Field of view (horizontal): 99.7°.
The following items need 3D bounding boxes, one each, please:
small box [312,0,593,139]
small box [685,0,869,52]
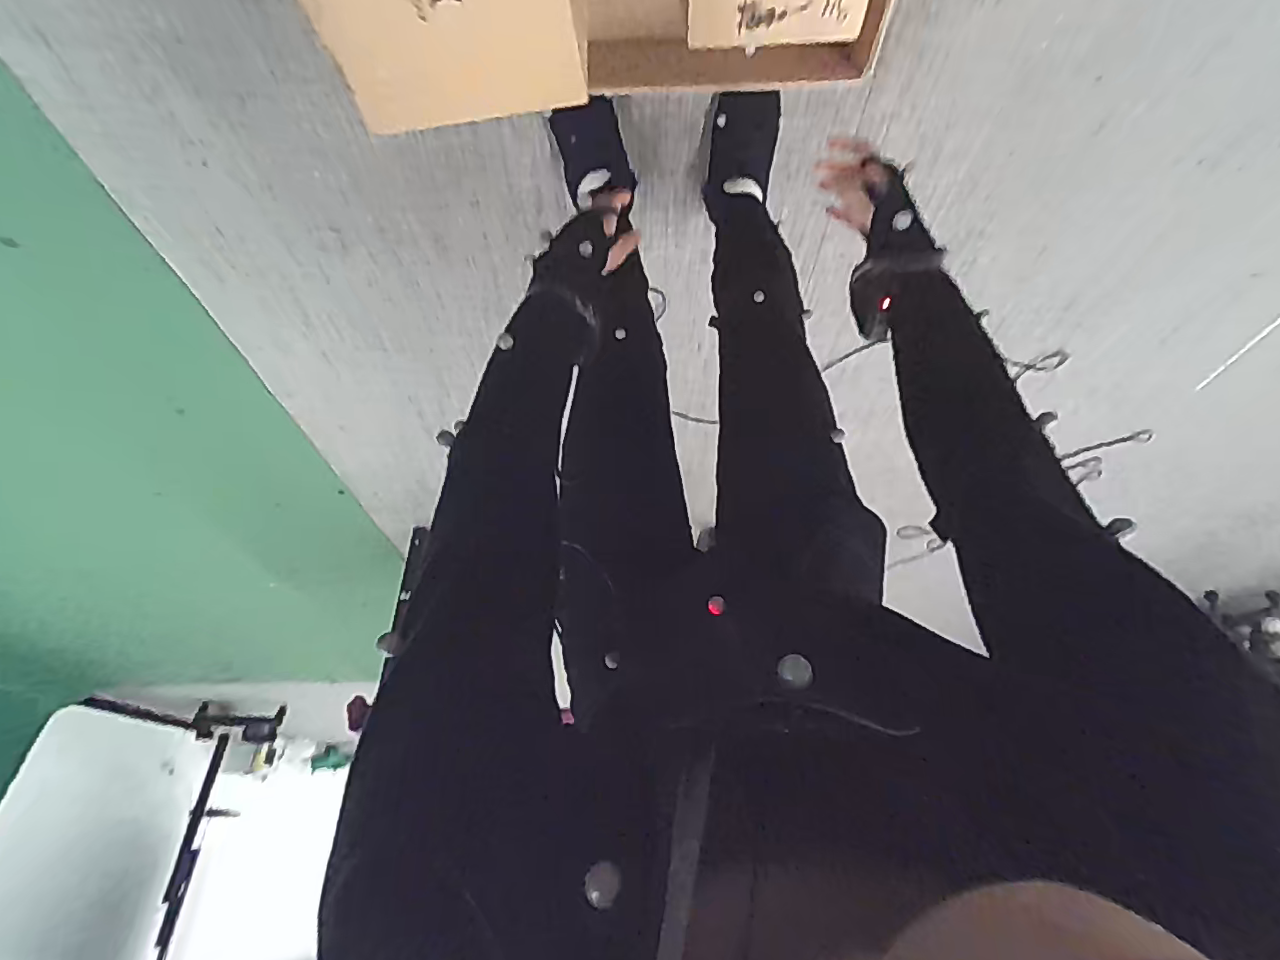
[{"bbox_3d":[-0.136,-0.393,0.402,0.179,0.176,0.168,-6,148,5],"label":"small box"},{"bbox_3d":[0.125,-0.532,0.498,0.168,0.176,0.179,-1,146,2],"label":"small box"}]
